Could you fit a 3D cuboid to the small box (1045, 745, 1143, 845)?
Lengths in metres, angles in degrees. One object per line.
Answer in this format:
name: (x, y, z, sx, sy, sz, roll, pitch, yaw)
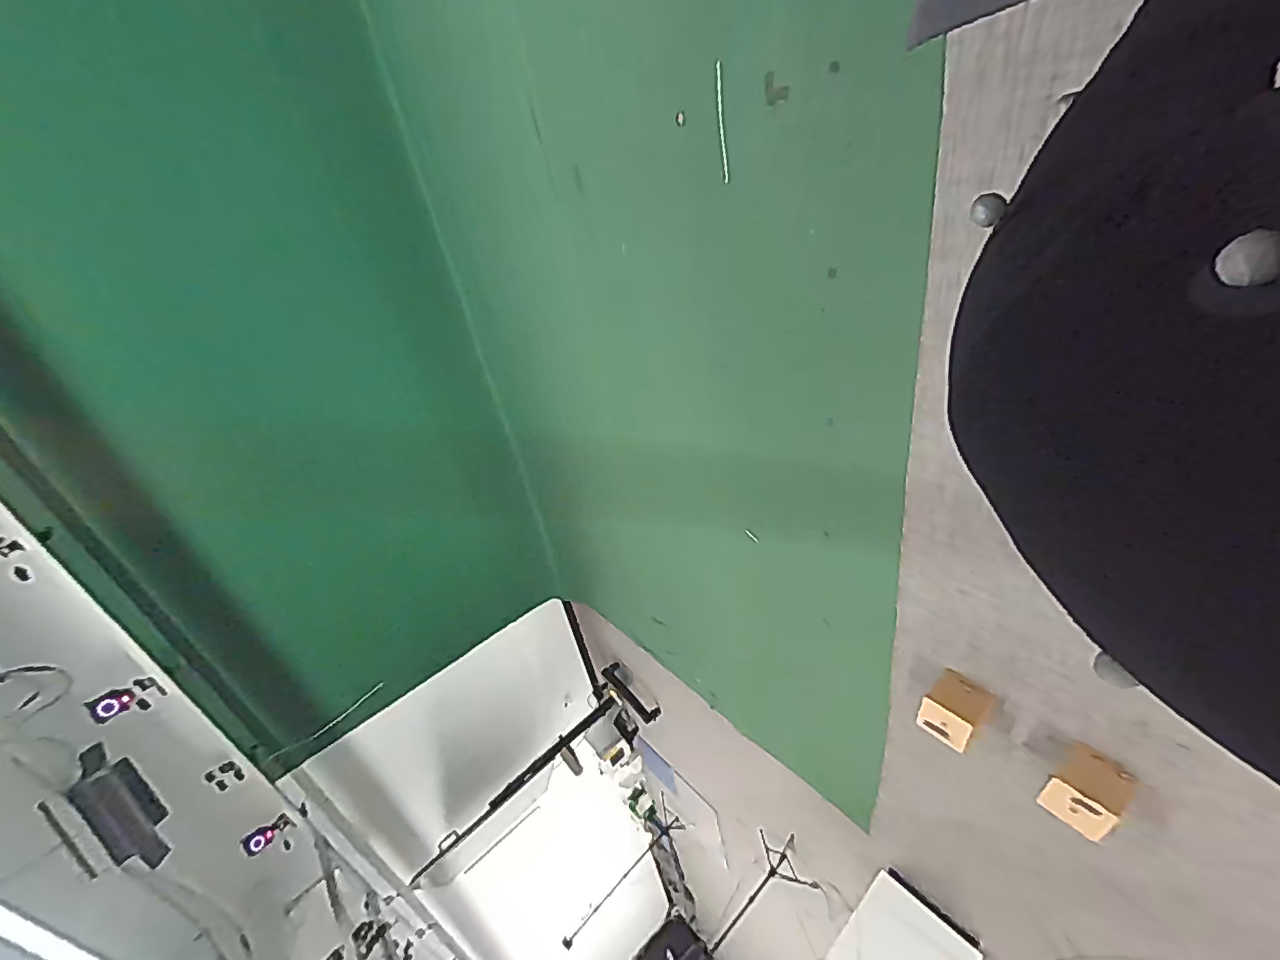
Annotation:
small box: (1.388, 0.955, 1.651, 0.168, 0.176, 0.179, 32, 142, 41)
